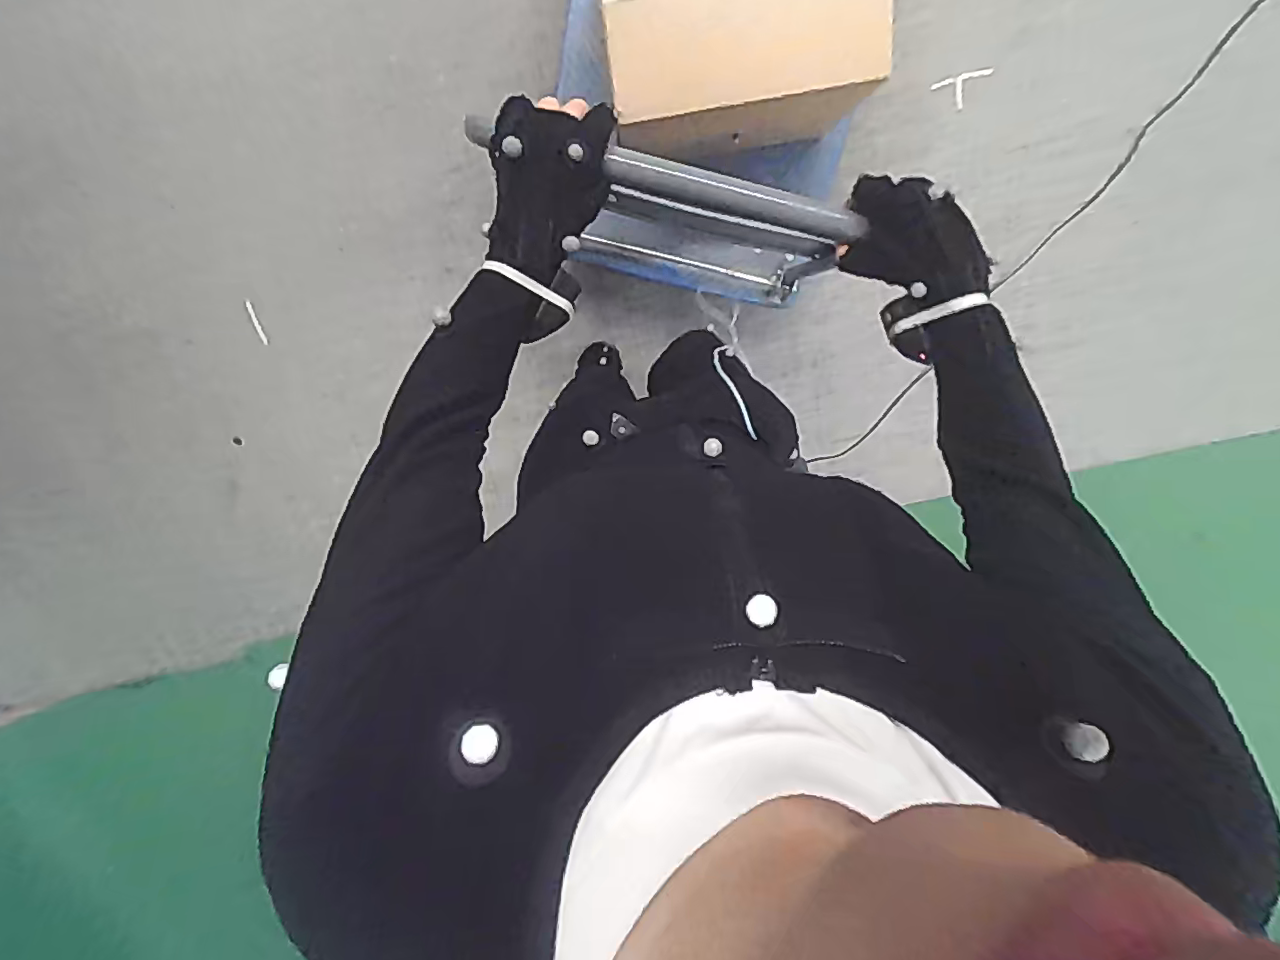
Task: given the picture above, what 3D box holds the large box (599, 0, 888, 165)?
[{"bbox_3d":[0.145,-0.759,0.894,0.408,0.320,0.320,-9,108,5],"label":"large box"}]
